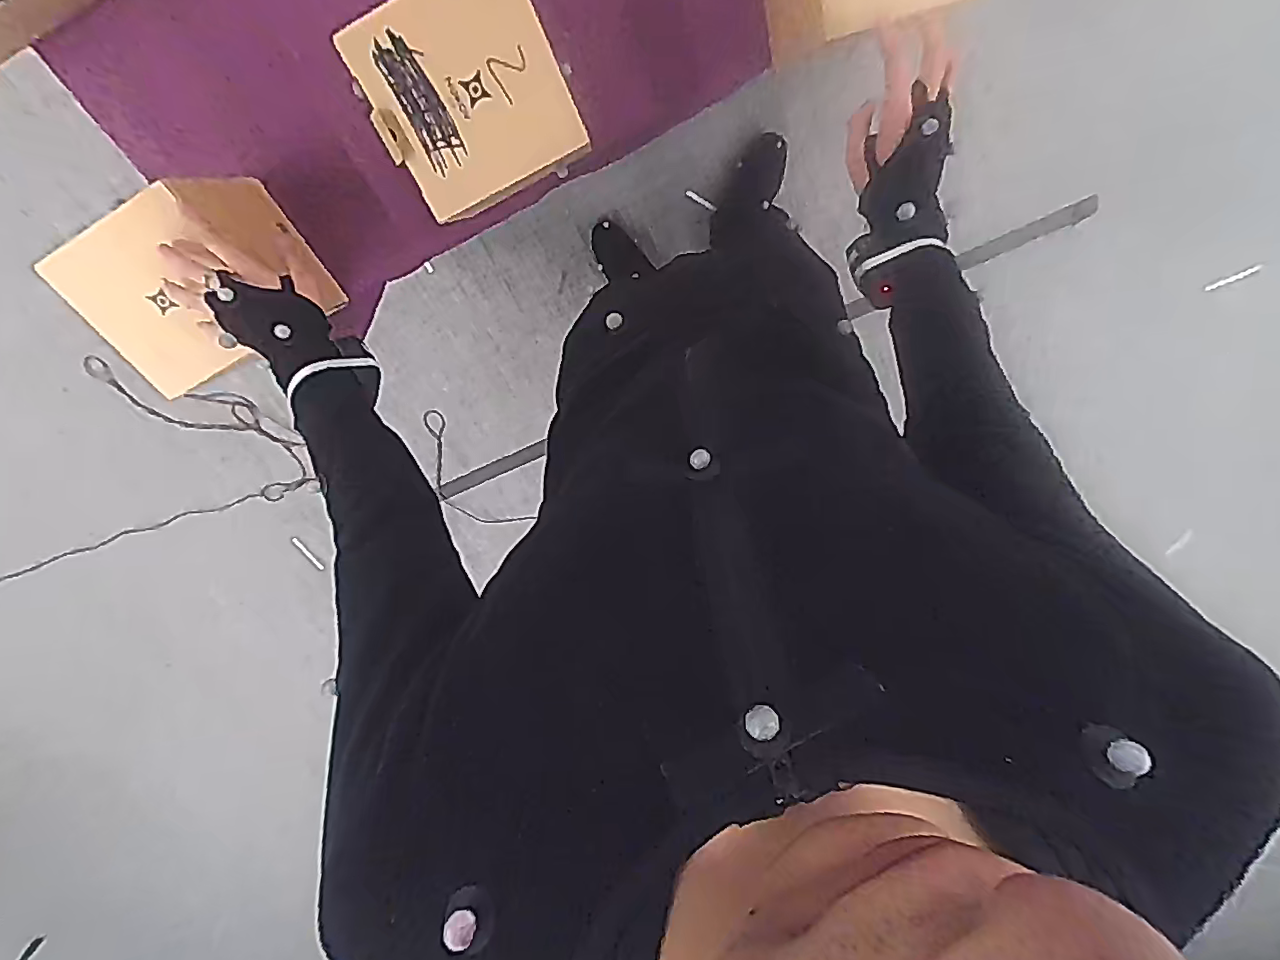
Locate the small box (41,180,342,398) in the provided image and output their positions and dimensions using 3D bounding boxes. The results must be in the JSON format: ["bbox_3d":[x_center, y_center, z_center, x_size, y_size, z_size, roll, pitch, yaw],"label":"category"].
[{"bbox_3d":[-0.500,-0.227,0.638,0.179,0.176,0.168,-27,118,9],"label":"small box"}]
